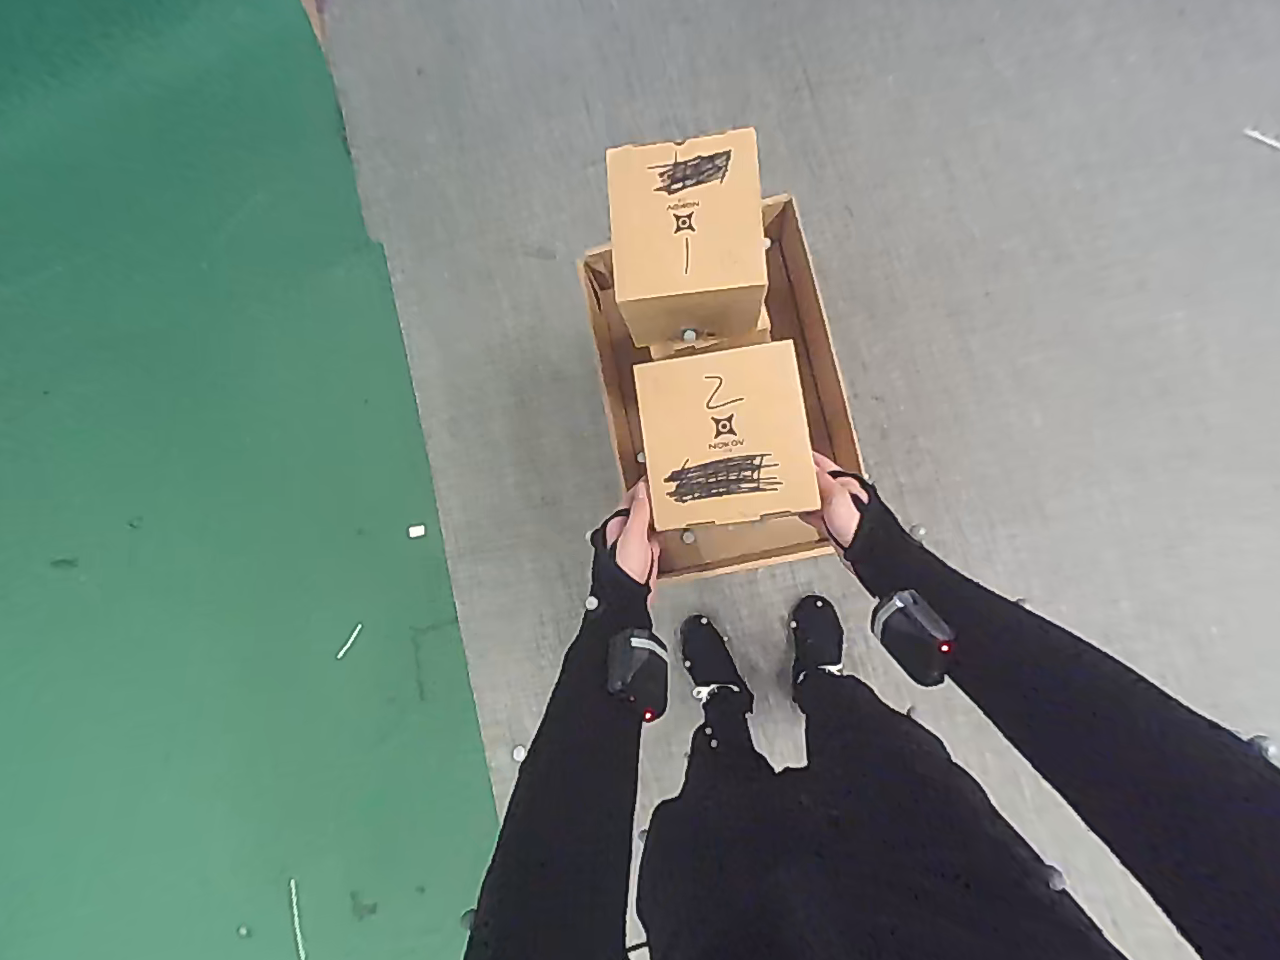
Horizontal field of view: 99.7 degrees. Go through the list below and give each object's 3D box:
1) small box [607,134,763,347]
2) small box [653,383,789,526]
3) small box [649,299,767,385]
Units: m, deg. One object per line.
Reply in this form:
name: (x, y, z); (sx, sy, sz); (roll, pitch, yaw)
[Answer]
small box: (0.057, -0.280, 0.668); (0.168, 0.176, 0.179); (-4, 86, 8)
small box: (0.118, -0.025, 0.796); (0.168, 0.176, 0.179); (-8, 82, 8)
small box: (0.087, -0.264, 0.829); (0.168, 0.176, 0.179); (-14, 84, 7)
